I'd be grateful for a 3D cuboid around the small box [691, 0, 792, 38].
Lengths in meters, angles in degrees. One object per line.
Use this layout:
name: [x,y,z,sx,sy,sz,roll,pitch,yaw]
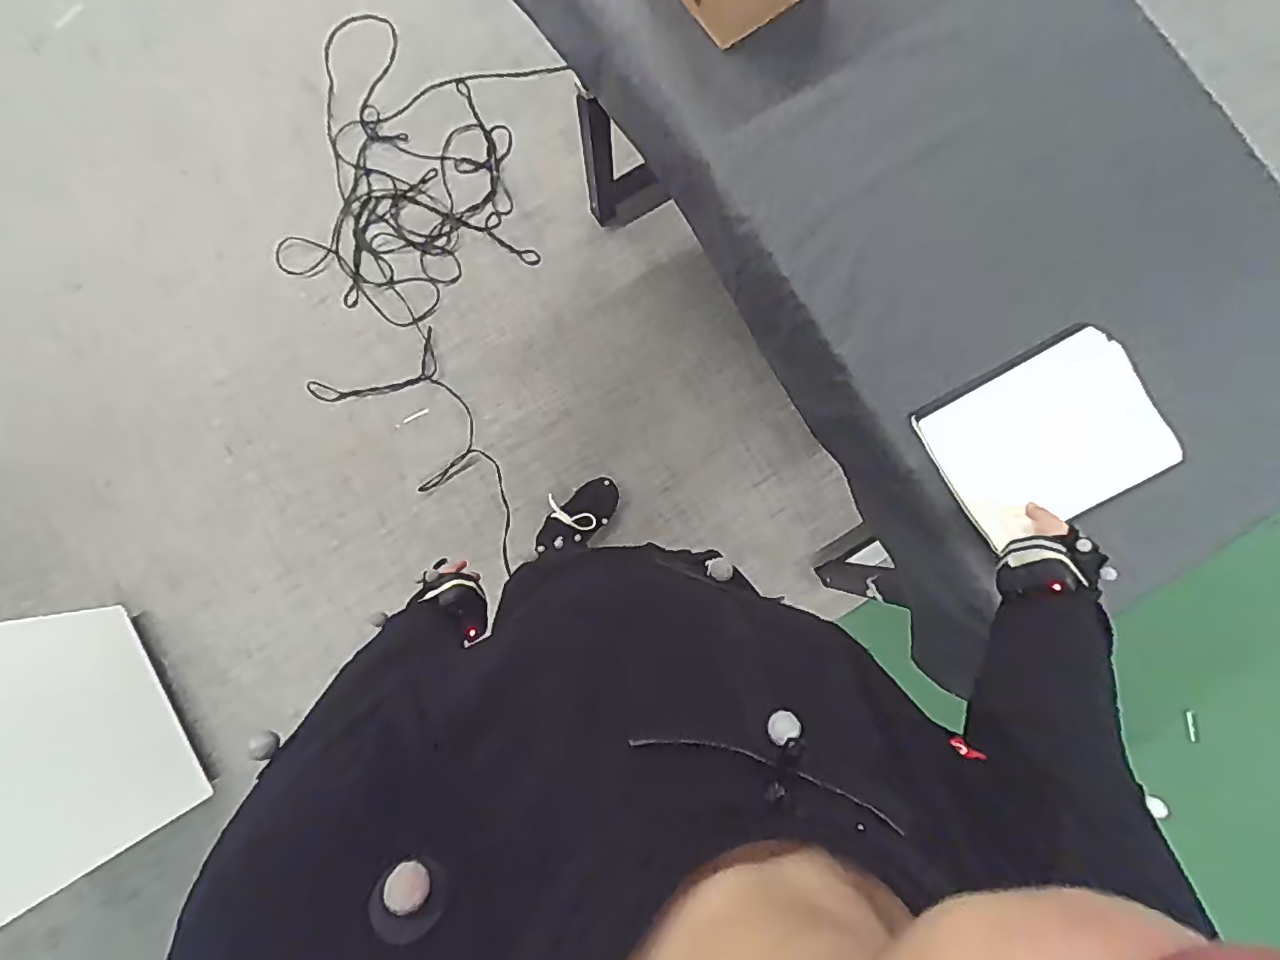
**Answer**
small box: [0.130,-0.689,0.639,0.179,0.176,0.168,-36,87,-5]
